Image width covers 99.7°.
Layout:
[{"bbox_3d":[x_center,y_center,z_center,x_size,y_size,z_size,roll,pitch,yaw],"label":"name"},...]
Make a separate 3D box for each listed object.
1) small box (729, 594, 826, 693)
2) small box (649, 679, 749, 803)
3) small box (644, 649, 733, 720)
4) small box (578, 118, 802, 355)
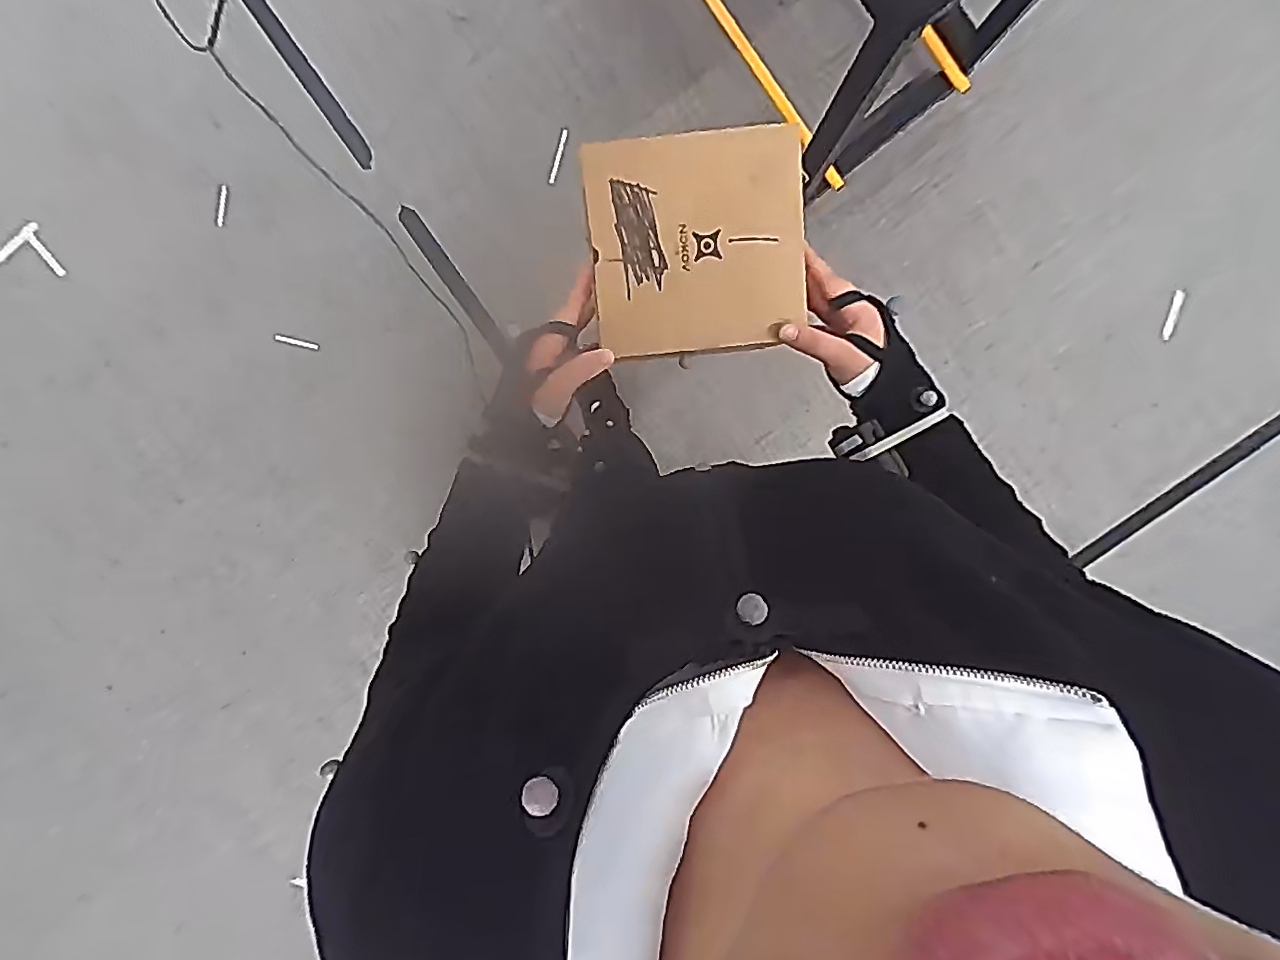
[{"bbox_3d":[0.358,0.424,1.447,0.168,0.176,0.179,-34,94,3],"label":"small box"},{"bbox_3d":[0.137,0.620,1.305,0.168,0.176,0.179,-35,93,3],"label":"small box"},{"bbox_3d":[0.128,0.597,1.467,0.179,0.176,0.168,-37,94,4],"label":"small box"},{"bbox_3d":[0.043,-0.212,0.518,0.179,0.176,0.168,-5,101,0],"label":"small box"}]
